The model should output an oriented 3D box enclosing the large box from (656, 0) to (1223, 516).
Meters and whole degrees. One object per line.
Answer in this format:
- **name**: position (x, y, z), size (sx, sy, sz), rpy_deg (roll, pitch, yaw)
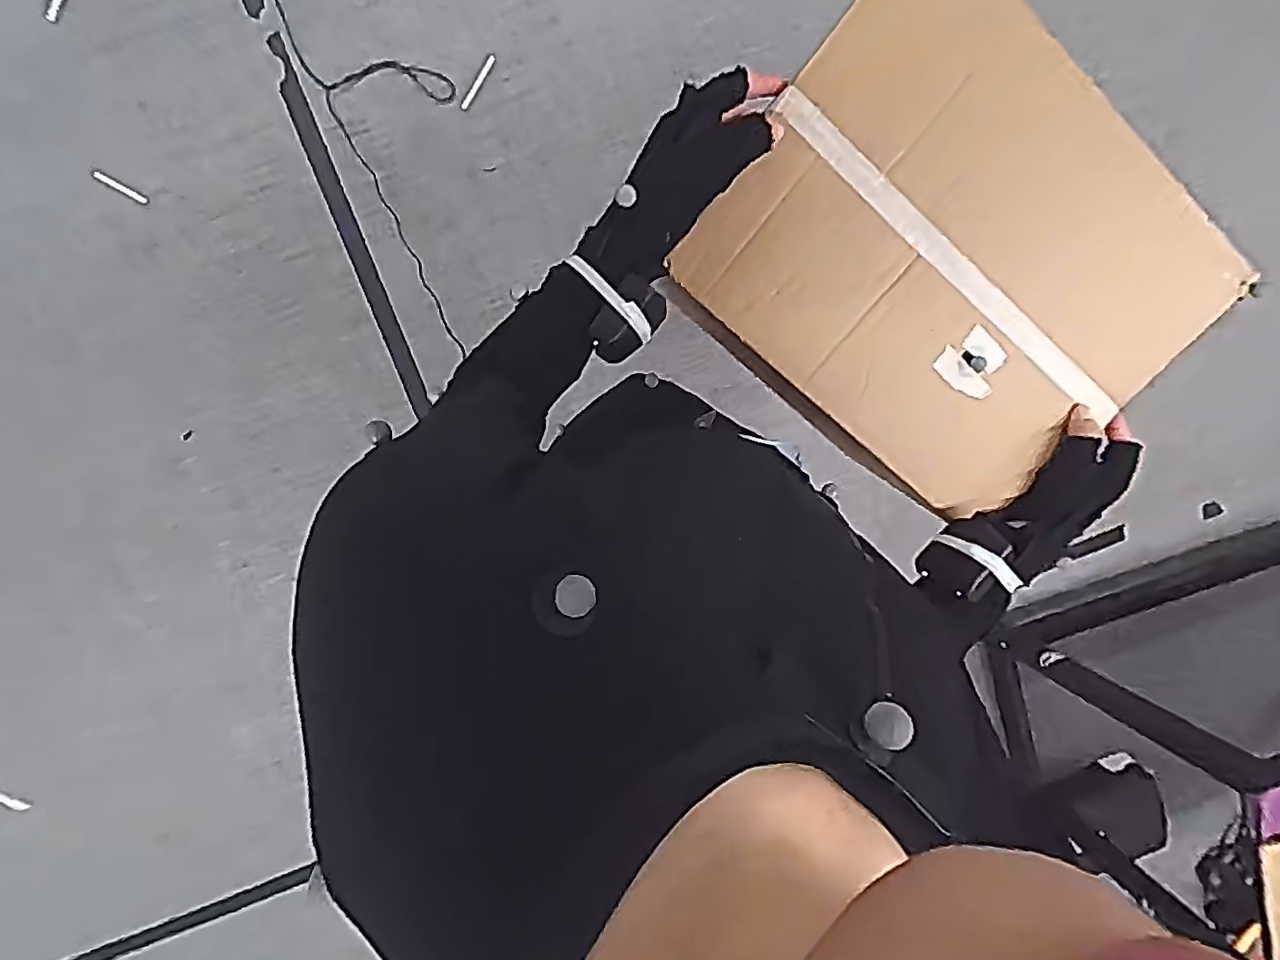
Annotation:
- **large box**: position (0.266, -0.236, 0.617), size (0.408, 0.320, 0.320), rpy_deg (38, 105, -11)
